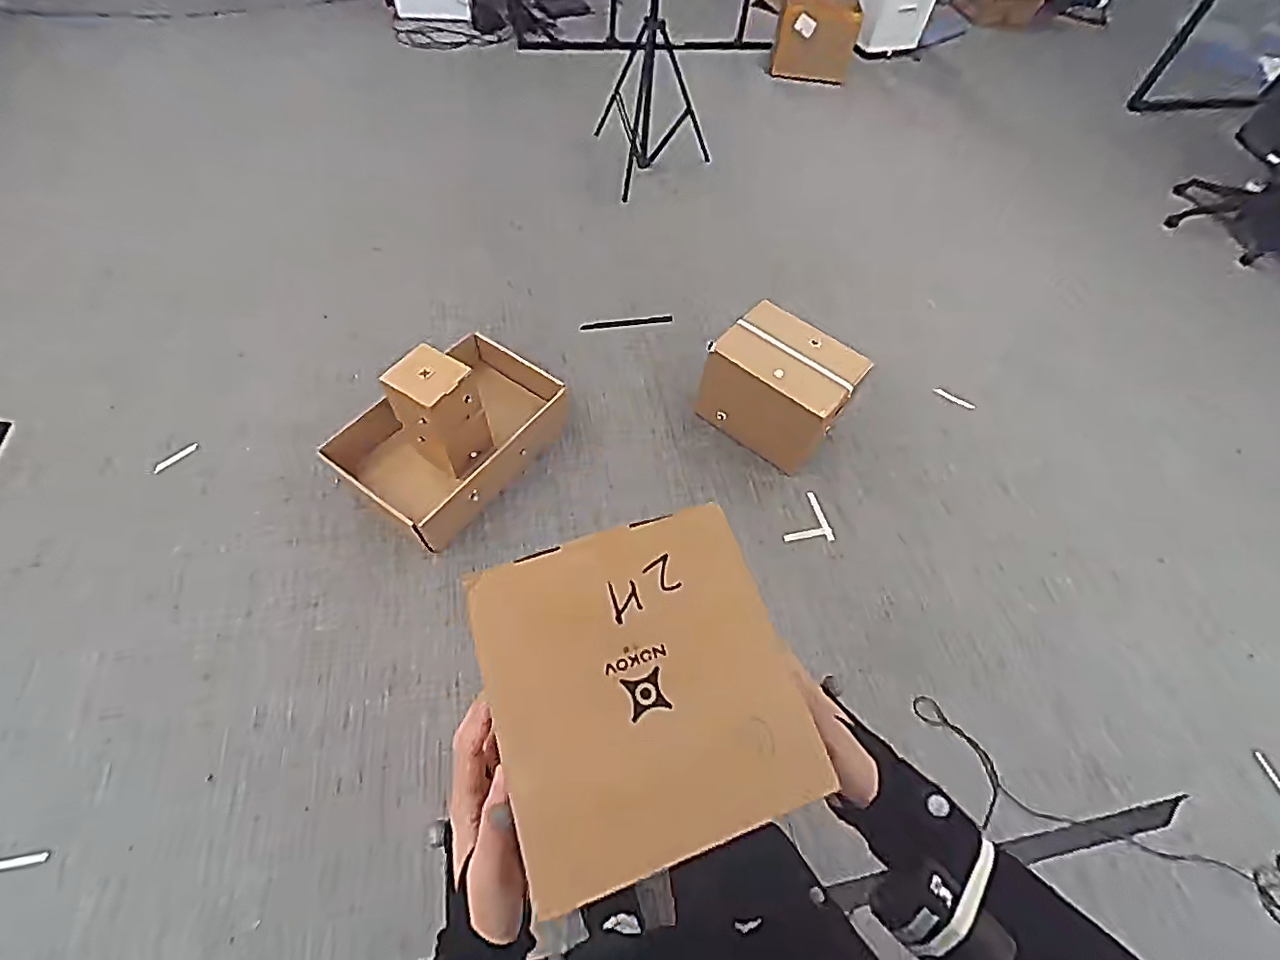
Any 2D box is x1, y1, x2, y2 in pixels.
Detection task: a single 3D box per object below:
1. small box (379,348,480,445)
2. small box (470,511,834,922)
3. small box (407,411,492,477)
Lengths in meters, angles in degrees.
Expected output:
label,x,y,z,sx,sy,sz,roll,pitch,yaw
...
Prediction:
label,x,y,z,sx,sy,sz,roll,pitch,yaw
small box,-0.563,-0.221,1.474,0.179,0.176,0.168,27,58,13
small box,-0.004,0.147,0.375,0.168,0.176,0.179,-16,68,-13
small box,-0.570,-0.137,1.613,0.179,0.176,0.168,32,61,14
